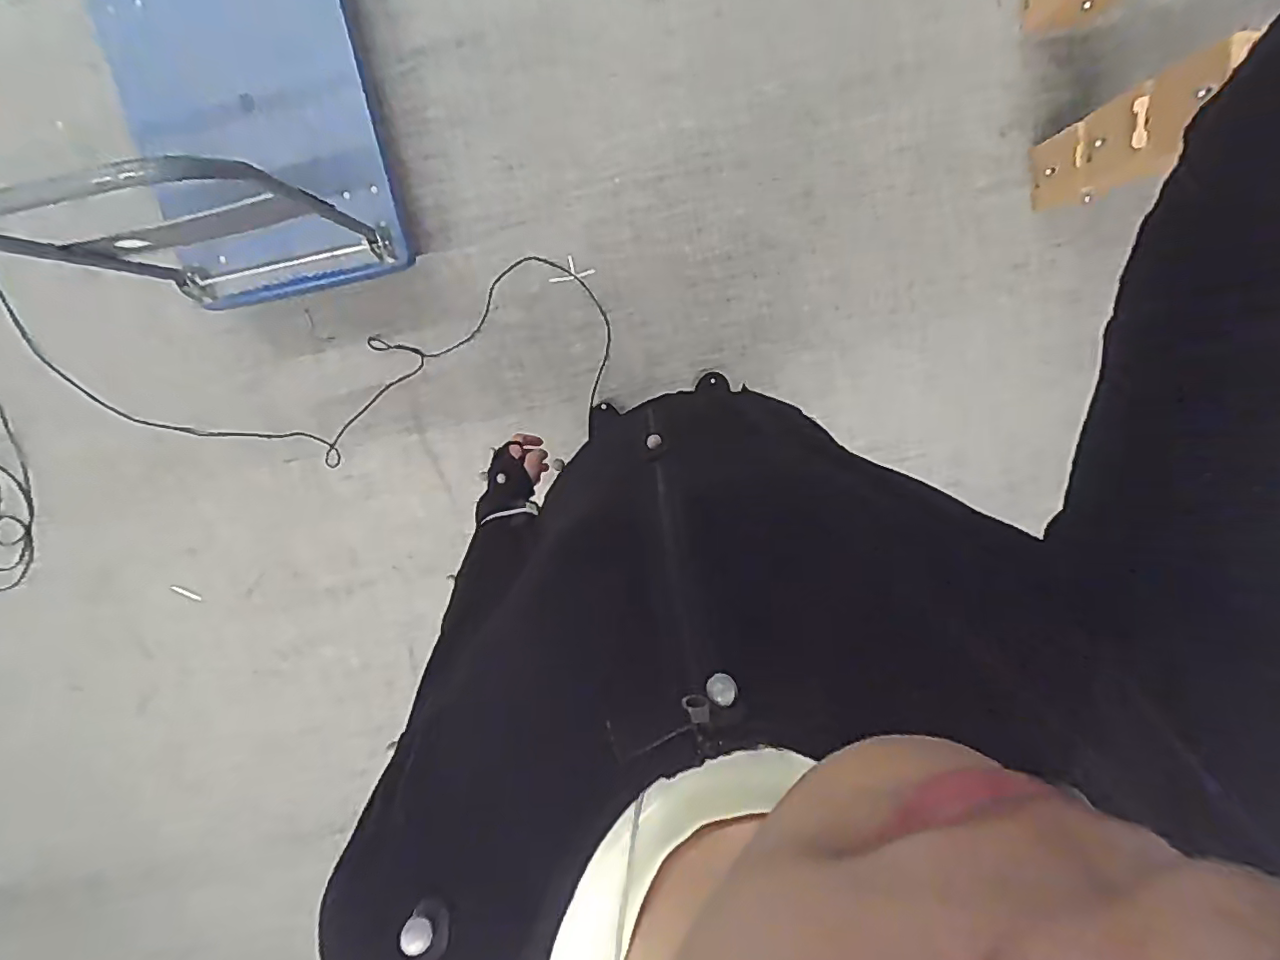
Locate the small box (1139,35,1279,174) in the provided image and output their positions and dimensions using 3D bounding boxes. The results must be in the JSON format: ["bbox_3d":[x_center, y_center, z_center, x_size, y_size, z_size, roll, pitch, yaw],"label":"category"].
[{"bbox_3d":[1.172,-0.754,1.100,0.168,0.176,0.179,-5,99,1],"label":"small box"}]

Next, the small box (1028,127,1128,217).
[{"bbox_3d":[1.158,-0.813,1.423,0.179,0.176,0.168,-9,100,1],"label":"small box"}]

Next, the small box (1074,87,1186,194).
[{"bbox_3d":[1.170,-0.788,1.260,0.179,0.176,0.168,-5,99,0],"label":"small box"}]
